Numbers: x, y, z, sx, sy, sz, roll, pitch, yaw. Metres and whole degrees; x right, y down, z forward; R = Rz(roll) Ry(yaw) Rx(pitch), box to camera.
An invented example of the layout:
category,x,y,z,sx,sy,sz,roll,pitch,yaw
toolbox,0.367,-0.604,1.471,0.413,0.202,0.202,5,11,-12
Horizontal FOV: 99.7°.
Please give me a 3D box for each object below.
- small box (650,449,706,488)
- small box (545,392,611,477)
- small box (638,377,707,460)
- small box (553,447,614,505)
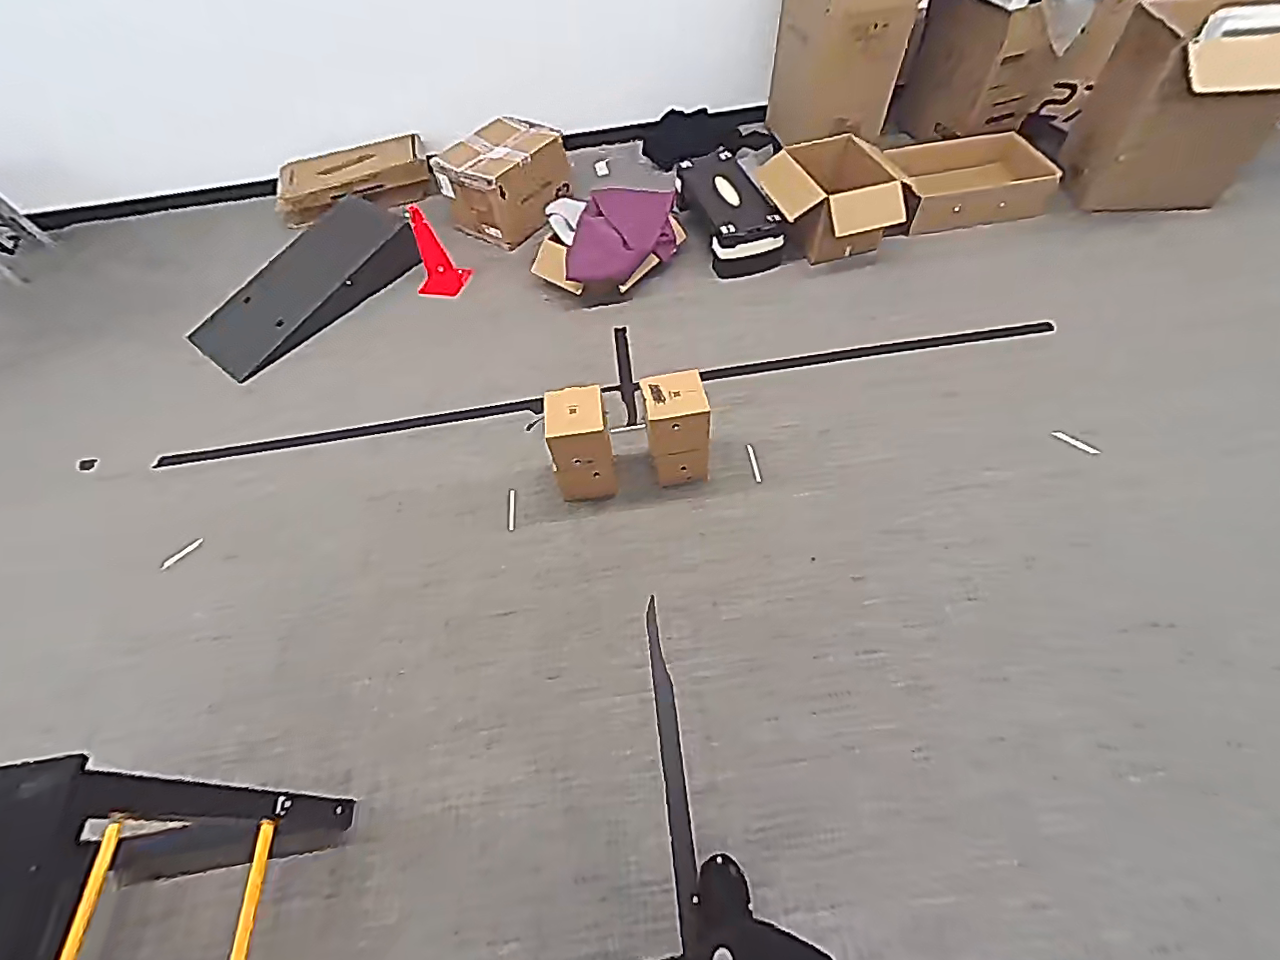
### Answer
category,x,y,z,sx,sy,sz,roll,pitch,yaw
small box,0.117,-0.088,1.743,0.168,0.176,0.179,-10,56,-2
small box,-0.183,-0.132,1.601,0.168,0.176,0.179,-9,56,1
small box,0.097,-0.178,1.605,0.179,0.176,0.168,-10,55,-2
small box,-0.177,-0.036,1.733,0.179,0.176,0.168,-7,55,1
